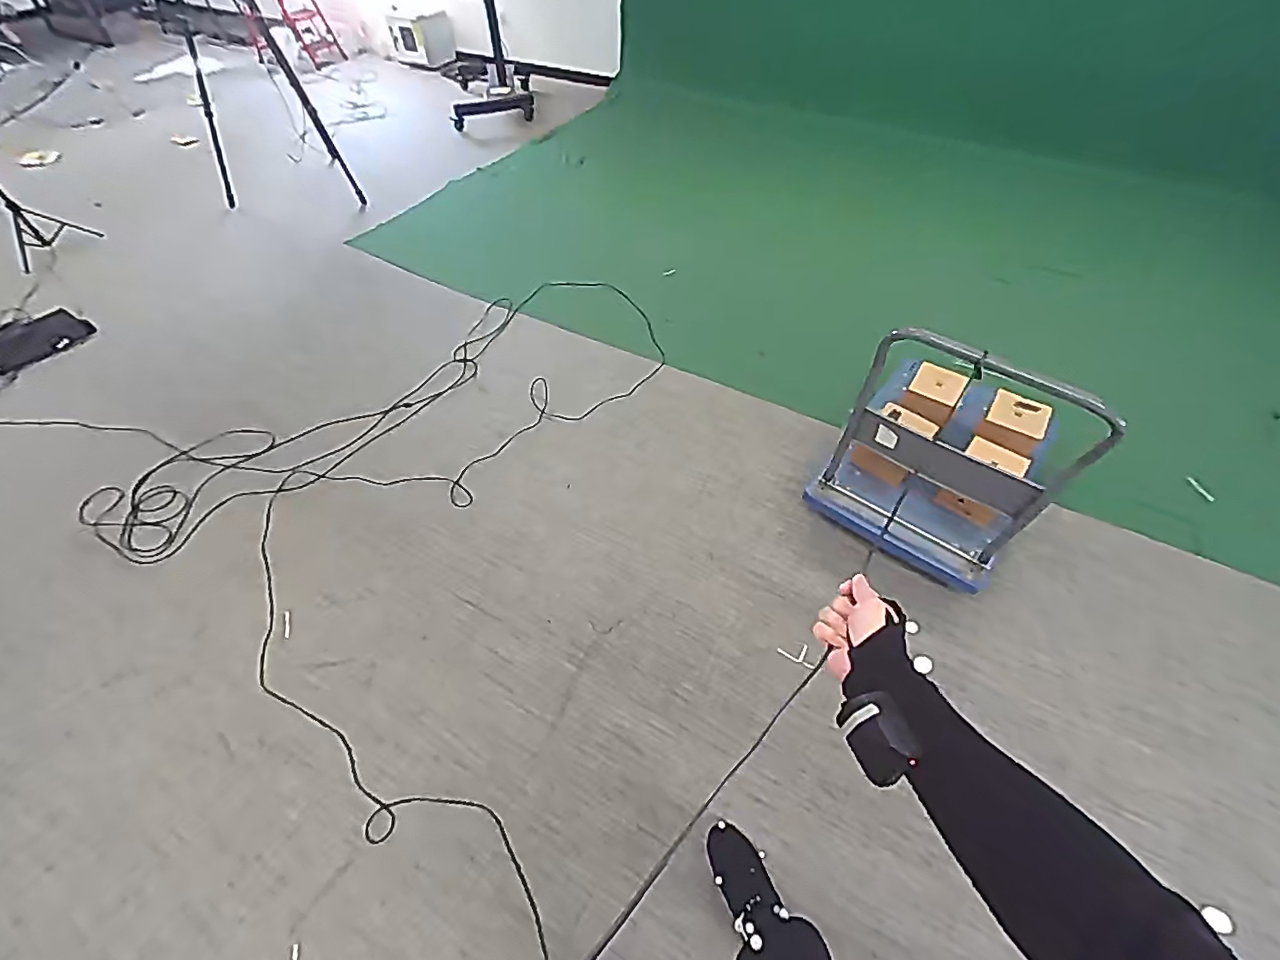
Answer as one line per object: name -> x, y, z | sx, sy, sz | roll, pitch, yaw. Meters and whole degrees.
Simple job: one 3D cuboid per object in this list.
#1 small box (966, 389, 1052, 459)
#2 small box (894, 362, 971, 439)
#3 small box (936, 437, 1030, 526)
small box -> 1.224, -0.164, 1.802 | 0.168, 0.176, 0.179 | 28, 58, 22
small box -> 1.017, -0.274, 1.893 | 0.168, 0.176, 0.179 | 29, 58, 21
small box -> 1.055, 0.006, 1.675 | 0.168, 0.176, 0.179 | 33, 60, 24
